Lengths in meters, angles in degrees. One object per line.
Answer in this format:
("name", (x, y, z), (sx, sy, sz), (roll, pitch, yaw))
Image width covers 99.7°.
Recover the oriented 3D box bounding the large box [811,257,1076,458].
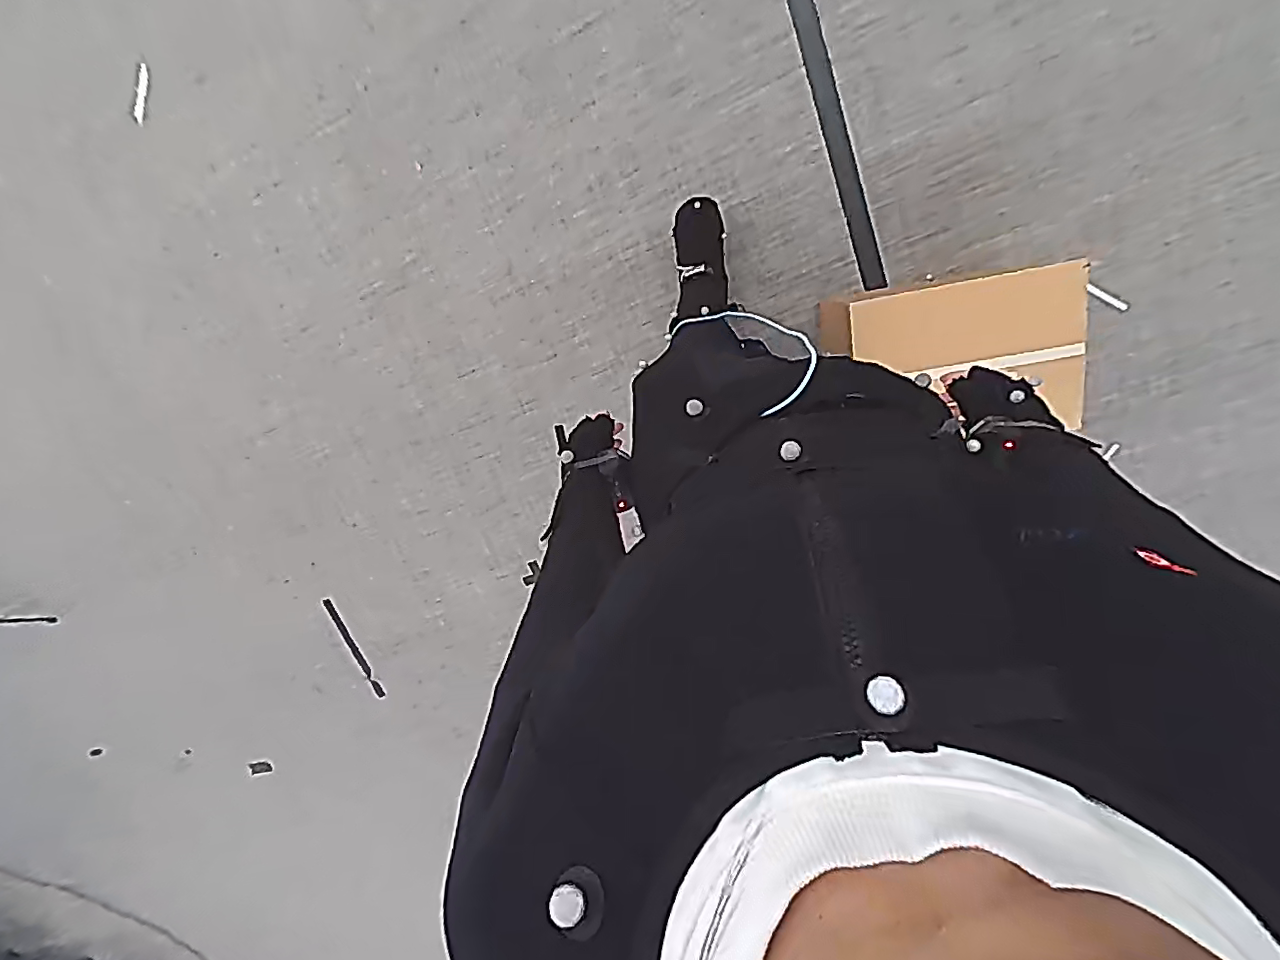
("large box", (0.613, -0.263, 1.160), (0.408, 0.320, 0.320), (-9, 108, 9))
